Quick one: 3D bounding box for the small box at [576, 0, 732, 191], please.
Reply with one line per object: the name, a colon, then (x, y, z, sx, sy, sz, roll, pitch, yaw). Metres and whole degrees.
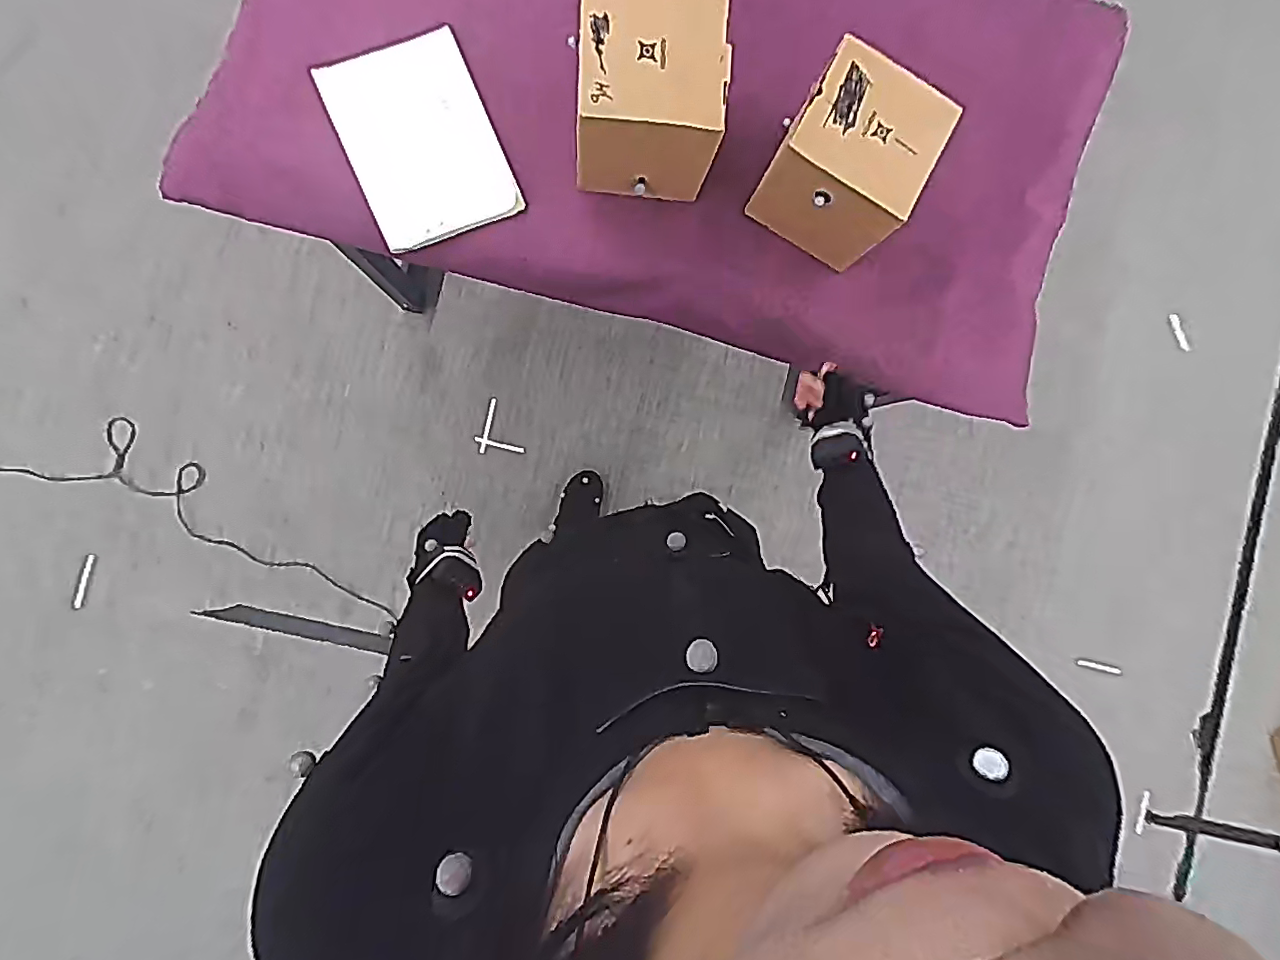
small box: (0.009, -0.501, 0.700, 0.179, 0.176, 0.168, 2, 90, -7)

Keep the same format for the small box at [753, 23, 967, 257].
small box: (0.279, -0.435, 0.728, 0.179, 0.176, 0.168, 29, 86, -6)
